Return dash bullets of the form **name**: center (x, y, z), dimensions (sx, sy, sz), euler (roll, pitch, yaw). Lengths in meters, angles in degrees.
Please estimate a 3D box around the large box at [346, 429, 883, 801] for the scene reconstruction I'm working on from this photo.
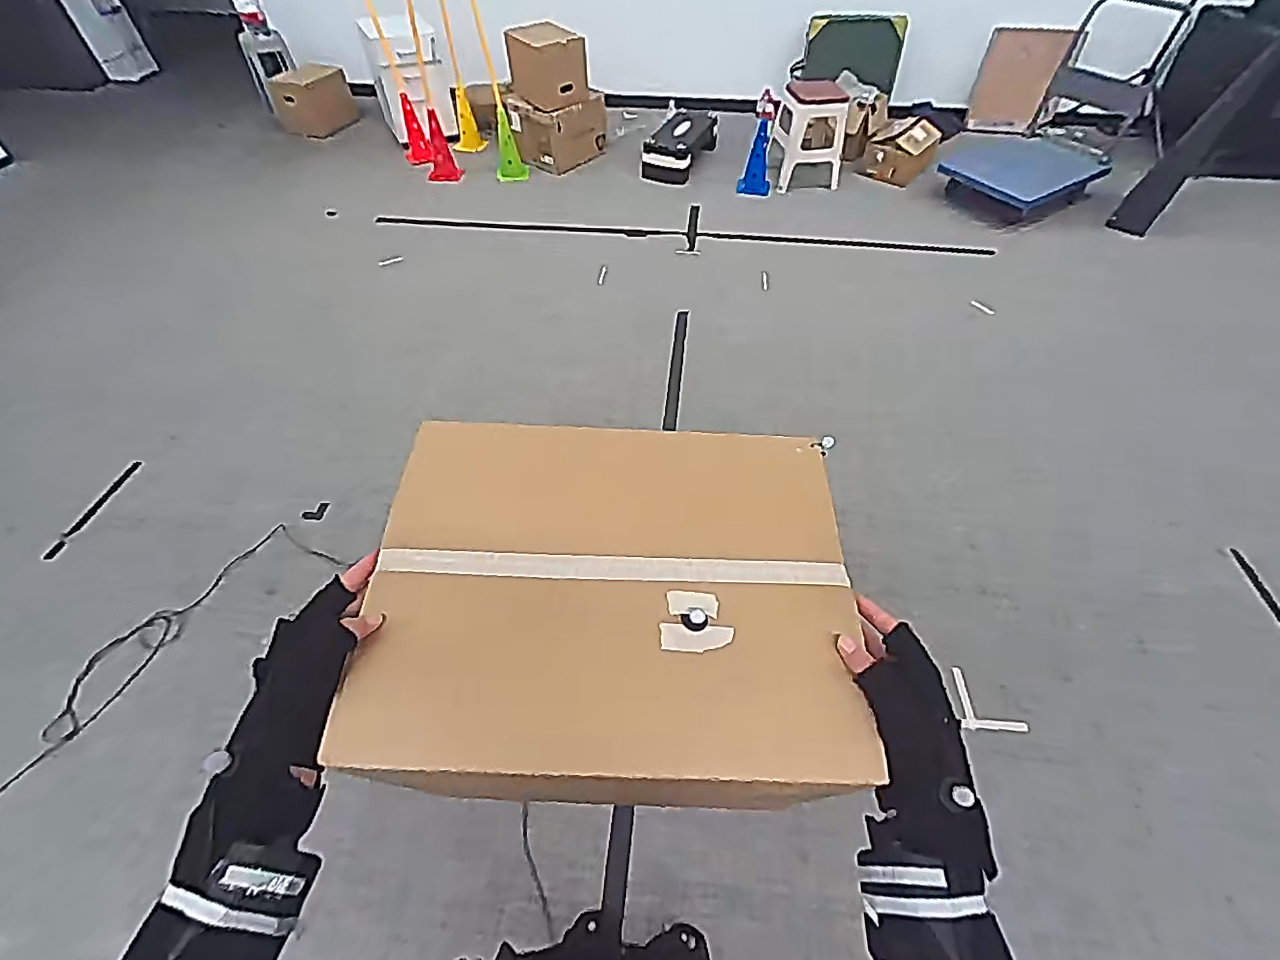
- **large box**: center (-0.022, 0.164, 0.599), dimensions (0.408, 0.320, 0.320), euler (3, 56, -2)
